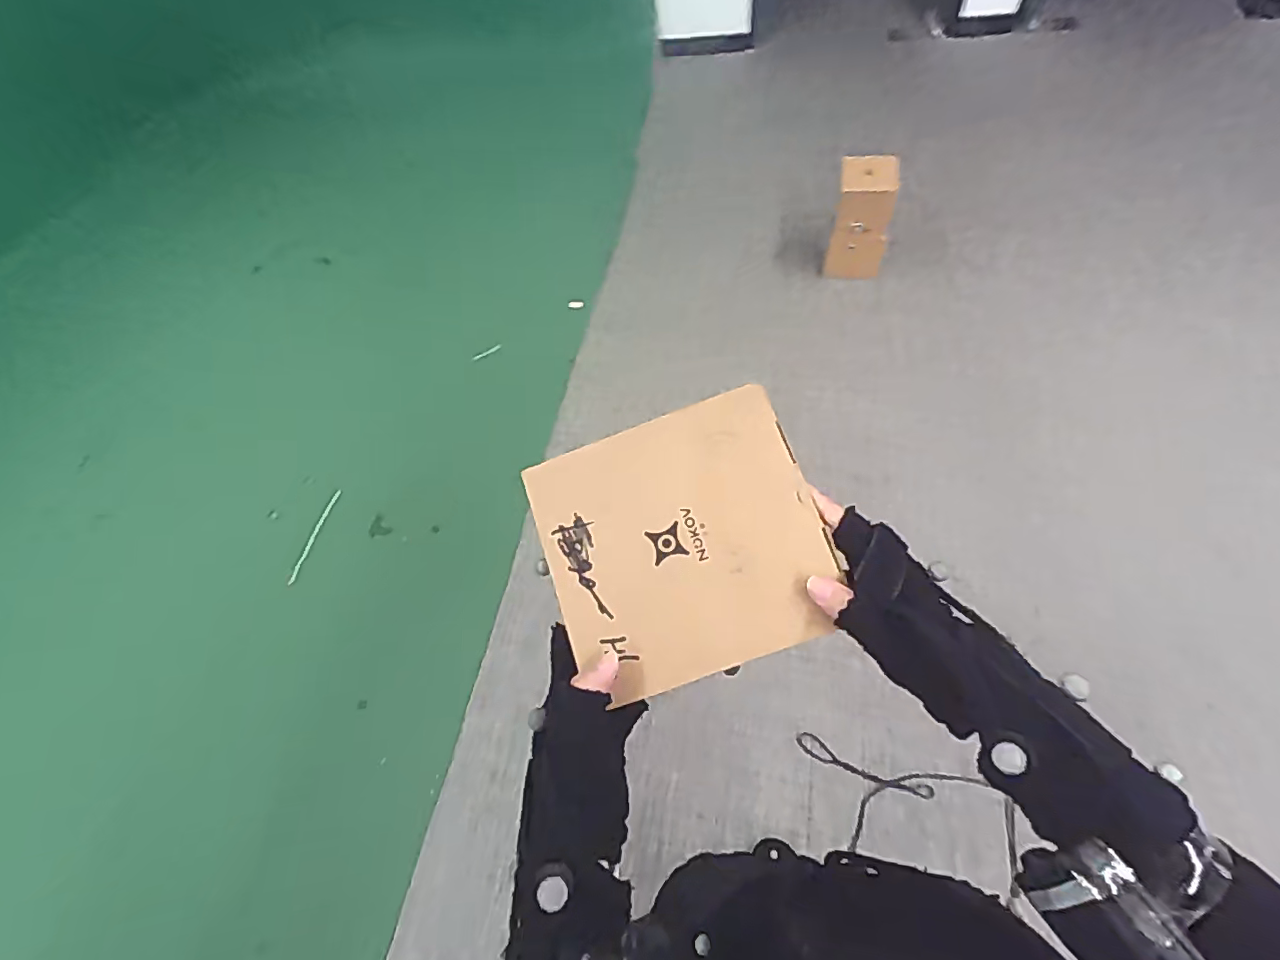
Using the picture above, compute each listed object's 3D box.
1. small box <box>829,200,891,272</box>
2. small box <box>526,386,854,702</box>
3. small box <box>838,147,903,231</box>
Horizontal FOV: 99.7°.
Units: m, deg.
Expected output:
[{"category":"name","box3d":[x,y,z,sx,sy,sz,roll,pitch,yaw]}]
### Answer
[{"category":"small box","box3d":[0.752,-0.837,1.856,0.179,0.176,0.168,7,63,13]},{"category":"small box","box3d":[0.035,0.054,0.424,0.179,0.176,0.168,-19,74,4]},{"category":"small box","box3d":[0.729,-0.922,1.720,0.168,0.176,0.179,5,64,14]}]
